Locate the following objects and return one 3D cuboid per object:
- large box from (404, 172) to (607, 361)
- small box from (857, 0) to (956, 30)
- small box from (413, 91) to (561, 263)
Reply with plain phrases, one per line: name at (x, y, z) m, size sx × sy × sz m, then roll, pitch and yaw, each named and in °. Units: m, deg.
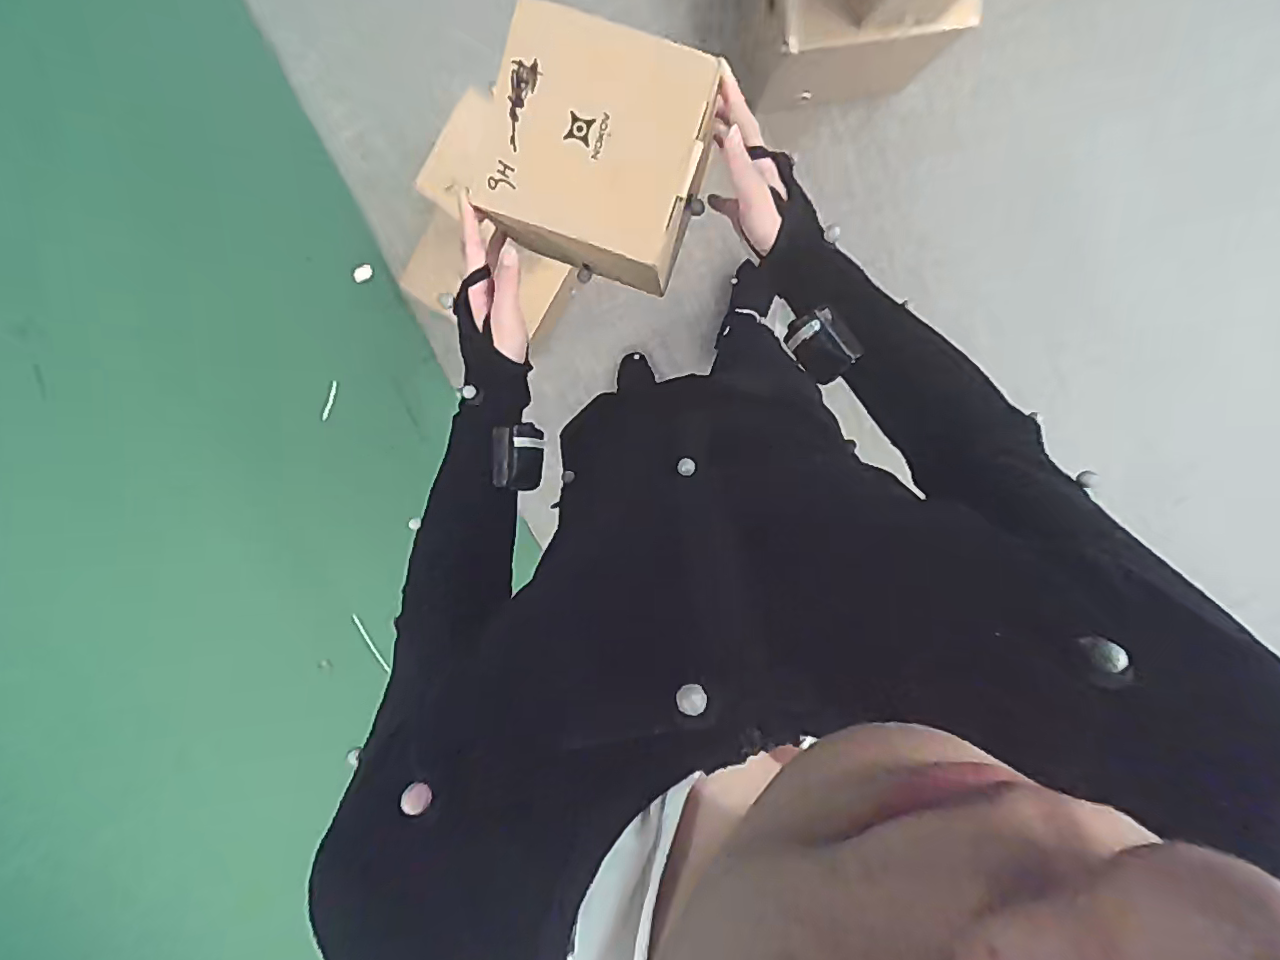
large box at (-0.309, -0.554, 1.344) m, size 0.320 × 0.320 × 0.408 m, roll 30°, pitch 102°, yaw -7°
small box at (0.517, -0.989, 1.006) m, size 0.168 × 0.176 × 0.179 m, roll -5°, pitch 106°, yaw 0°
small box at (-0.250, -0.506, 0.934) m, size 0.168 × 0.176 × 0.179 m, roll 35°, pitch 101°, yaw -9°
